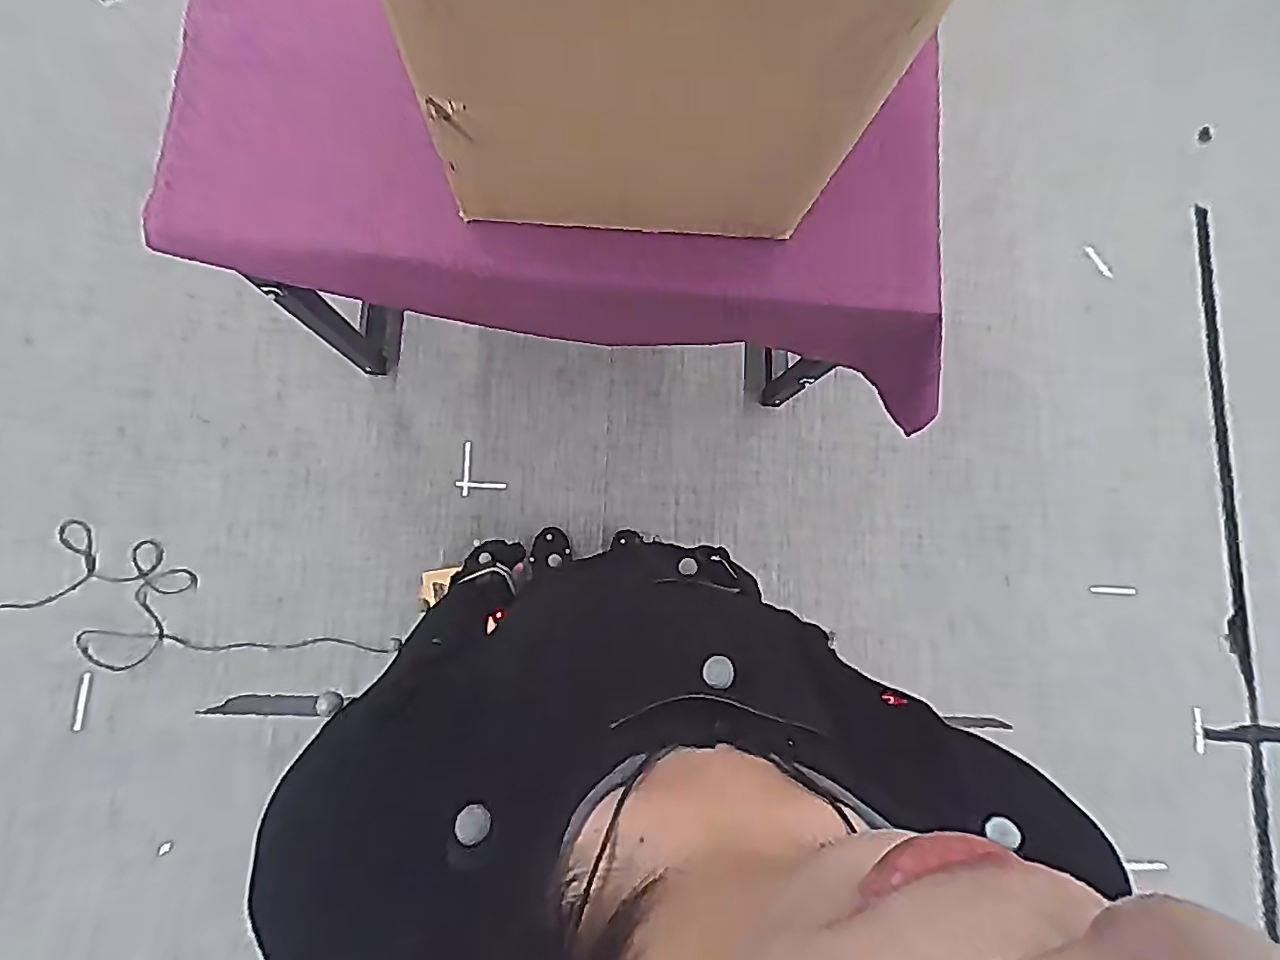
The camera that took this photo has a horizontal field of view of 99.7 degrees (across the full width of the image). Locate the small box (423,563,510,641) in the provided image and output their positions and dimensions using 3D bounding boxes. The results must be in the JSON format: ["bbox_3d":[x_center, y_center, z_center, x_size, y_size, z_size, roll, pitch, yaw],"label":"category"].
[{"bbox_3d":[-0.435,0.304,1.377,0.179,0.176,0.168,-7,85,-8],"label":"small box"}]
